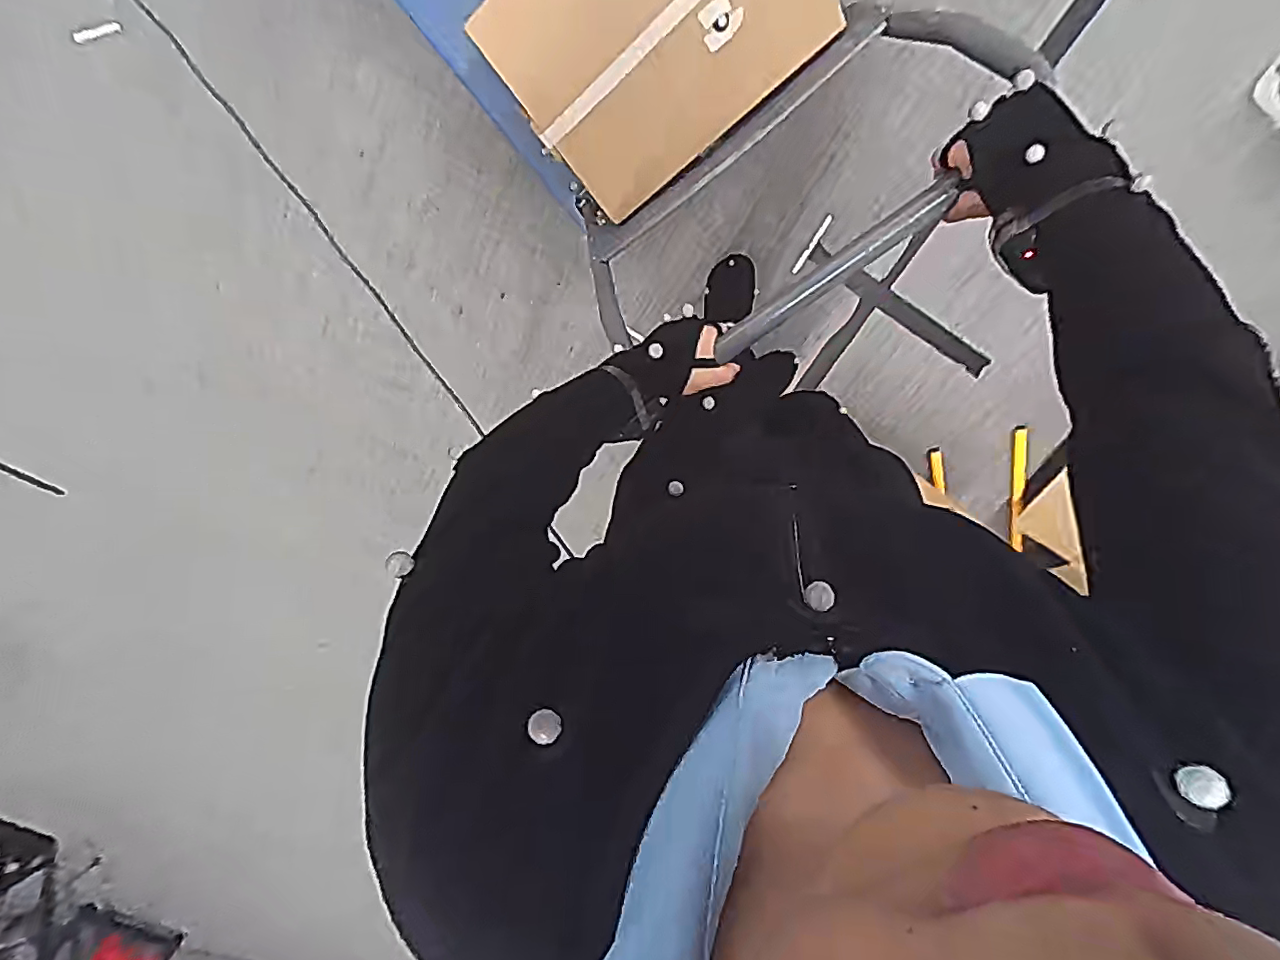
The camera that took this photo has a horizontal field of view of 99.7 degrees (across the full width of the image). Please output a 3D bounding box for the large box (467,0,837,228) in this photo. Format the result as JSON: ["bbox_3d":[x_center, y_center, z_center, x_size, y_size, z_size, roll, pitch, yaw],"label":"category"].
[{"bbox_3d":[0.004,-0.678,0.823,0.408,0.320,0.320,-35,126,20],"label":"large box"}]
